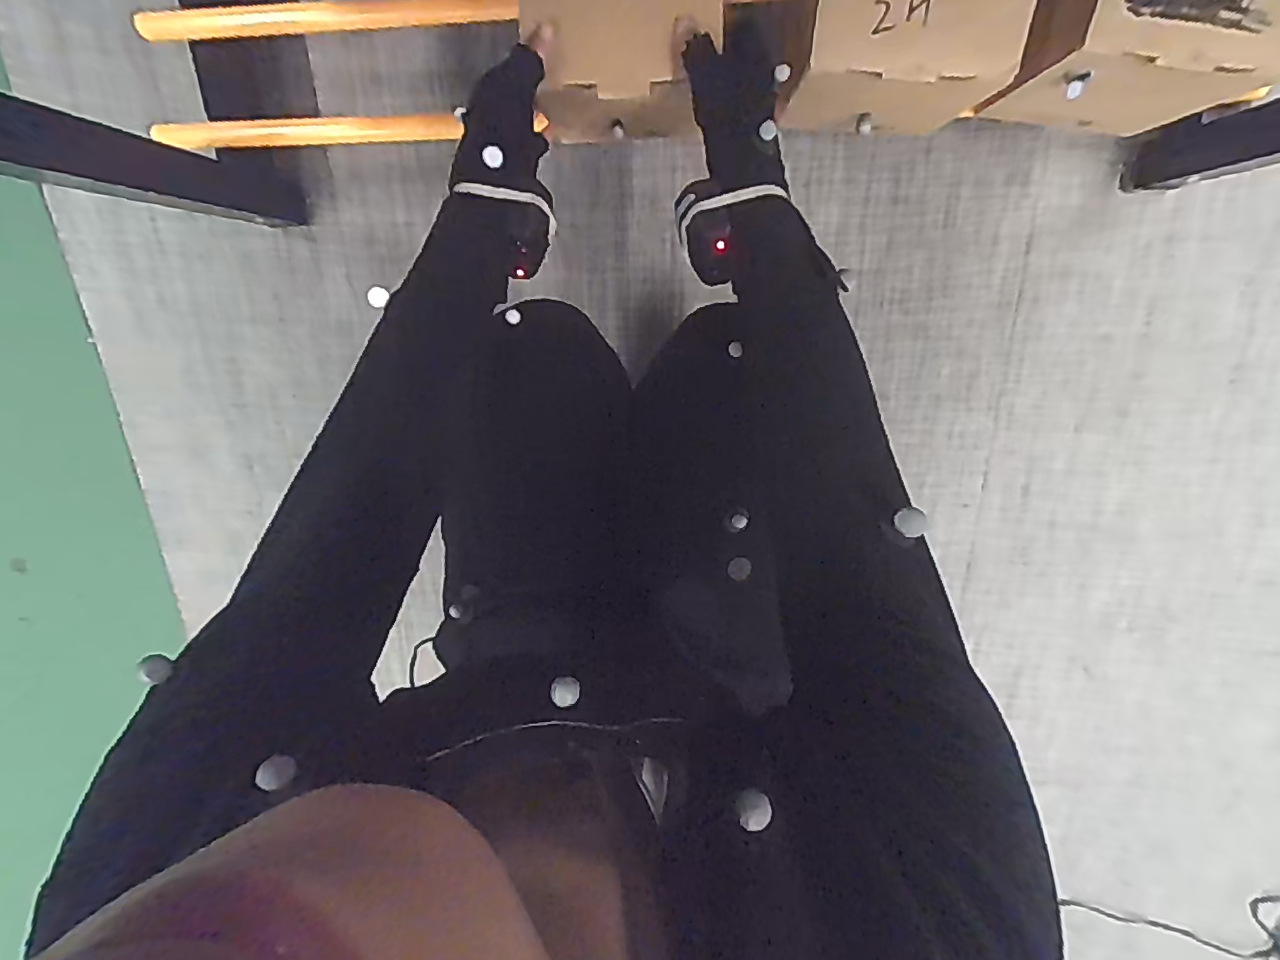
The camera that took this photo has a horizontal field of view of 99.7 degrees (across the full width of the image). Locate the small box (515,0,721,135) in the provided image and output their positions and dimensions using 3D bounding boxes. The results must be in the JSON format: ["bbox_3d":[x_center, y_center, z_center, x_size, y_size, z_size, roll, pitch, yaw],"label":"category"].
[{"bbox_3d":[-0.016,-0.435,0.490,0.168,0.176,0.179,-1,111,2],"label":"small box"}]
